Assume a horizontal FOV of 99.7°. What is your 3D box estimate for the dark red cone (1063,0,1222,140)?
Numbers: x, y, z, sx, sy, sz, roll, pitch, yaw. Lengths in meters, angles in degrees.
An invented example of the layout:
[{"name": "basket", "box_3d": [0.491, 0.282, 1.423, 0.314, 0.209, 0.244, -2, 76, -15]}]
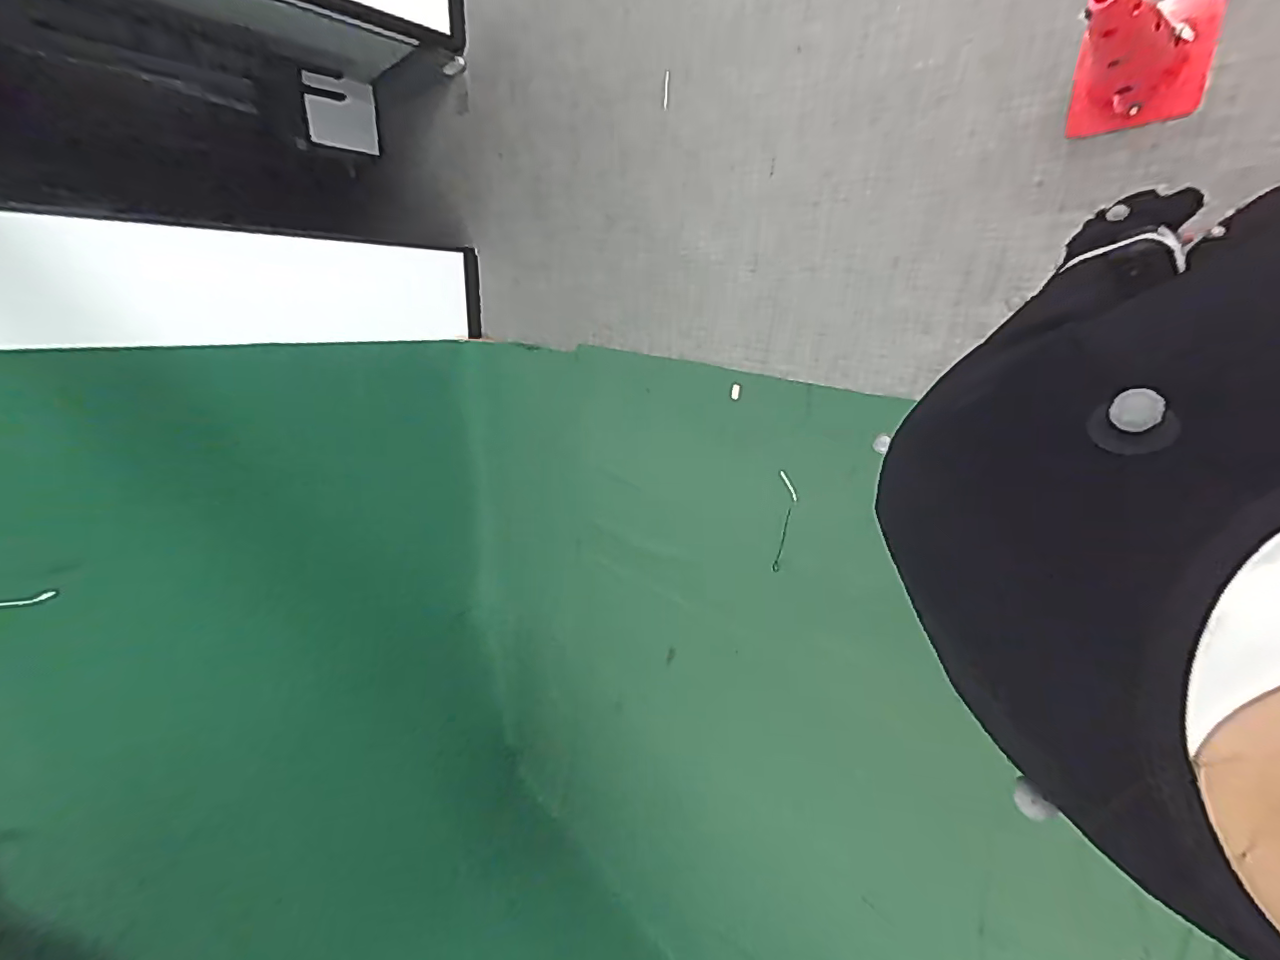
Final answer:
[{"name": "dark red cone", "box_3d": [0.805, -0.730, 0.899, 0.202, 0.394, 0.201, 14, 112, 46]}]
